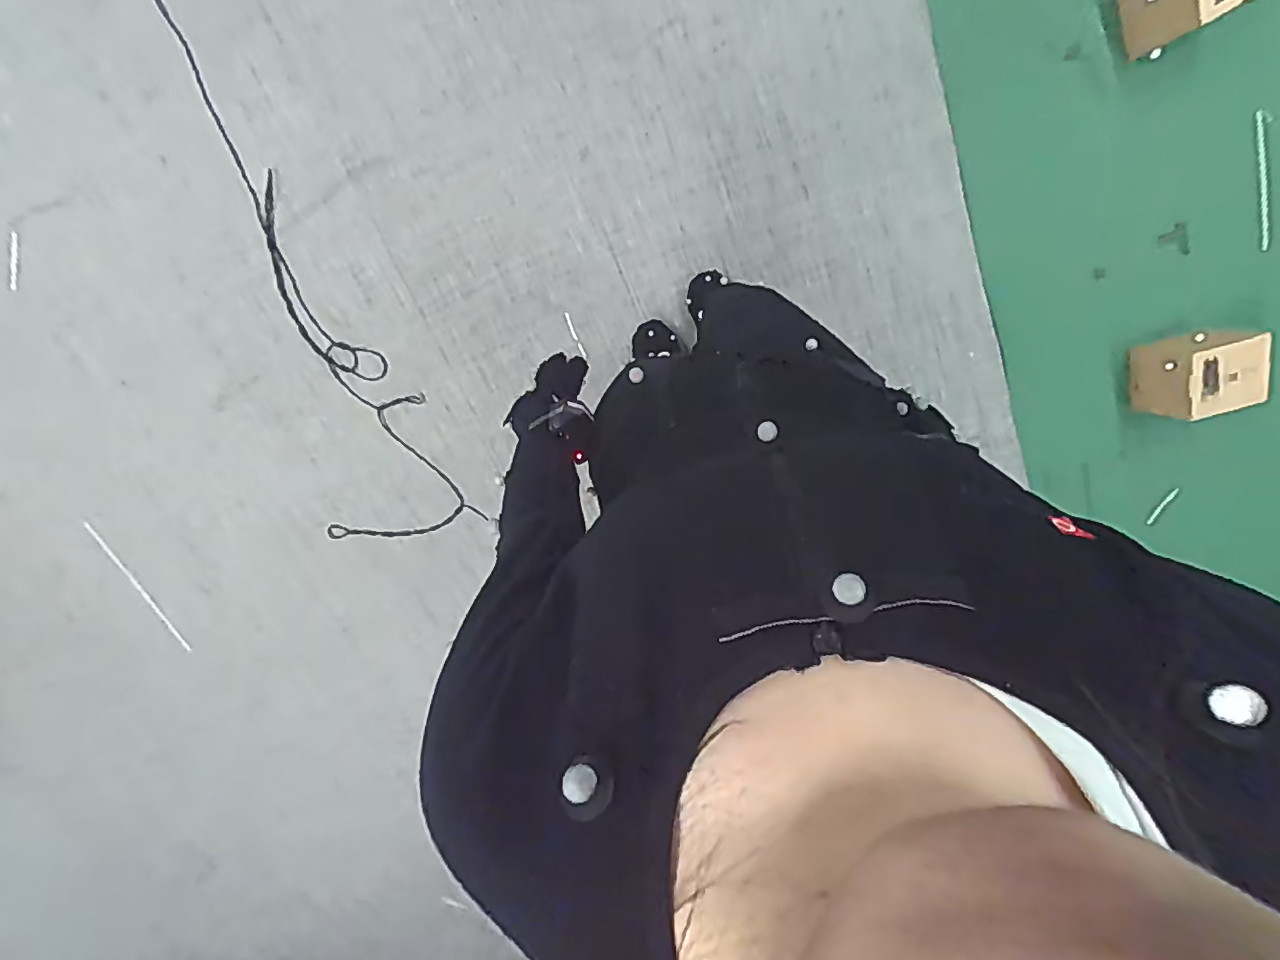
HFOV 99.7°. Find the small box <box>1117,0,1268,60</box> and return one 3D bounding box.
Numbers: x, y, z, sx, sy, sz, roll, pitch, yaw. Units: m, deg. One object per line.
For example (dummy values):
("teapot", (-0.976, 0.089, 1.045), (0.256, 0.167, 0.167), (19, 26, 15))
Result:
("small box", (1.122, -0.998, 1.093), (0.168, 0.176, 0.179), (-24, 105, 8))
